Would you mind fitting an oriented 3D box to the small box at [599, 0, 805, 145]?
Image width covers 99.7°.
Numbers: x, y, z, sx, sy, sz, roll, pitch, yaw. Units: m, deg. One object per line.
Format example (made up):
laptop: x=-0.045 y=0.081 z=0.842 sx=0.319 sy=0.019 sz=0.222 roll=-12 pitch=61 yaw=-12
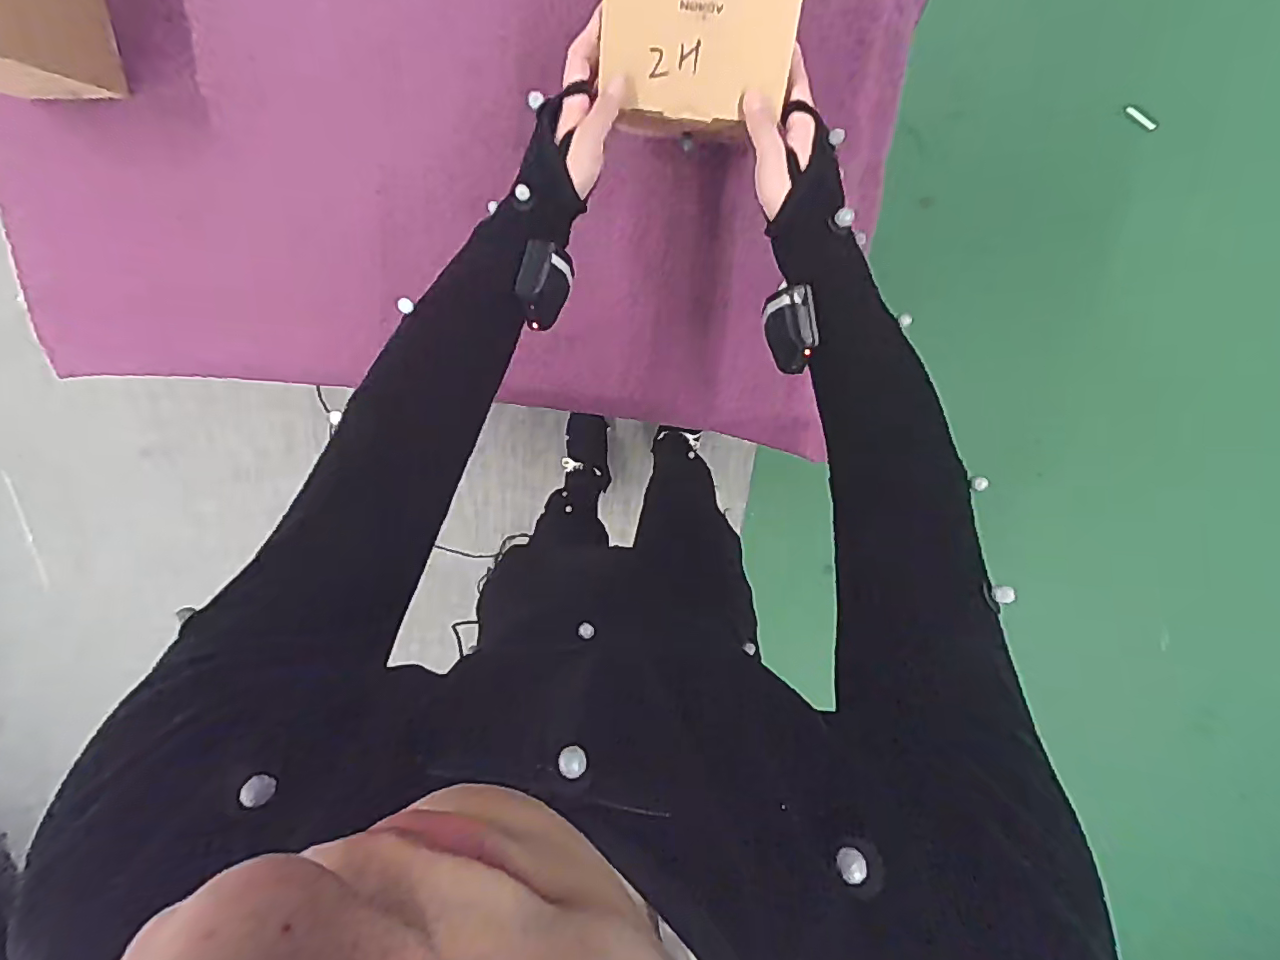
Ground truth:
small box: x=0.060 y=-0.437 z=0.513 sx=0.168 sy=0.176 sz=0.179 roll=8 pitch=118 yaw=2
